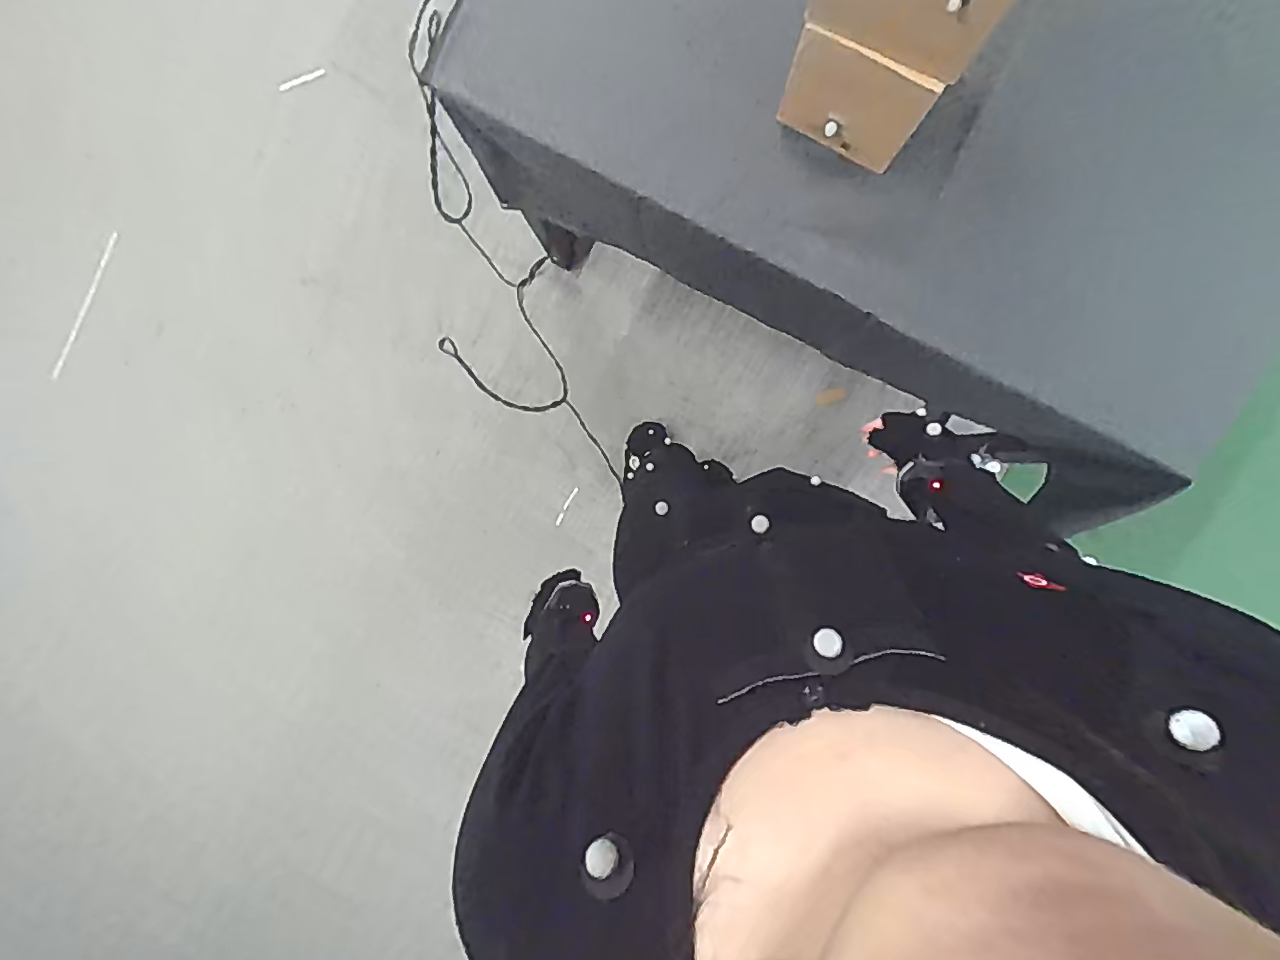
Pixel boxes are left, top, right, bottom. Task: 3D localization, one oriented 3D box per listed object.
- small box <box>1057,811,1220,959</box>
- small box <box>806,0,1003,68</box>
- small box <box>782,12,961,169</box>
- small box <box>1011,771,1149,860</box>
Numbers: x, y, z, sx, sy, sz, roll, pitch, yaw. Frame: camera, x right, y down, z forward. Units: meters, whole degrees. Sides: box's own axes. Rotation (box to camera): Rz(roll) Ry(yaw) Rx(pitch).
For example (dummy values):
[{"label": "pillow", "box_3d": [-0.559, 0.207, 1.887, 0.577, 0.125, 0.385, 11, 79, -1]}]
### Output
[{"label": "small box", "box_3d": [1.096, 0.895, 1.208, 0.168, 0.176, 0.179, 32, 94, 2]}, {"label": "small box", "box_3d": [0.279, -0.527, 0.486, 0.179, 0.176, 0.168, 27, 92, 3]}, {"label": "small box", "box_3d": [0.290, -0.527, 0.649, 0.168, 0.176, 0.179, 29, 94, 3]}, {"label": "small box", "box_3d": [1.100, 0.878, 1.372, 0.179, 0.176, 0.168, 33, 93, 1]}]
